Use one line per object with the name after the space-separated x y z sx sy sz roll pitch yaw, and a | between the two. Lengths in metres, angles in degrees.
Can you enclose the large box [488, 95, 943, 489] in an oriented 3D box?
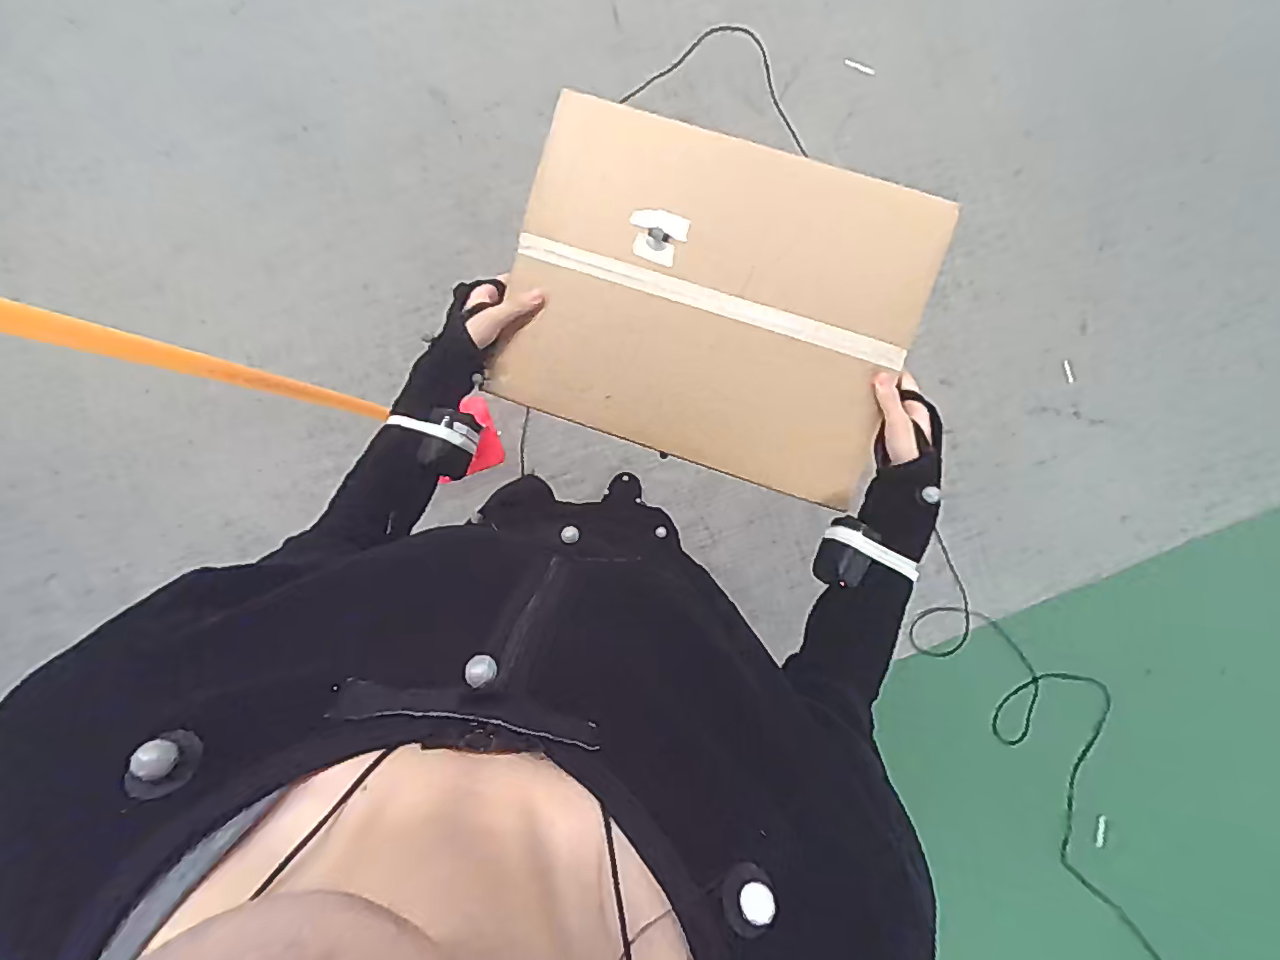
0.082 -0.209 0.704 0.408 0.320 0.320 19 98 4 | large box
